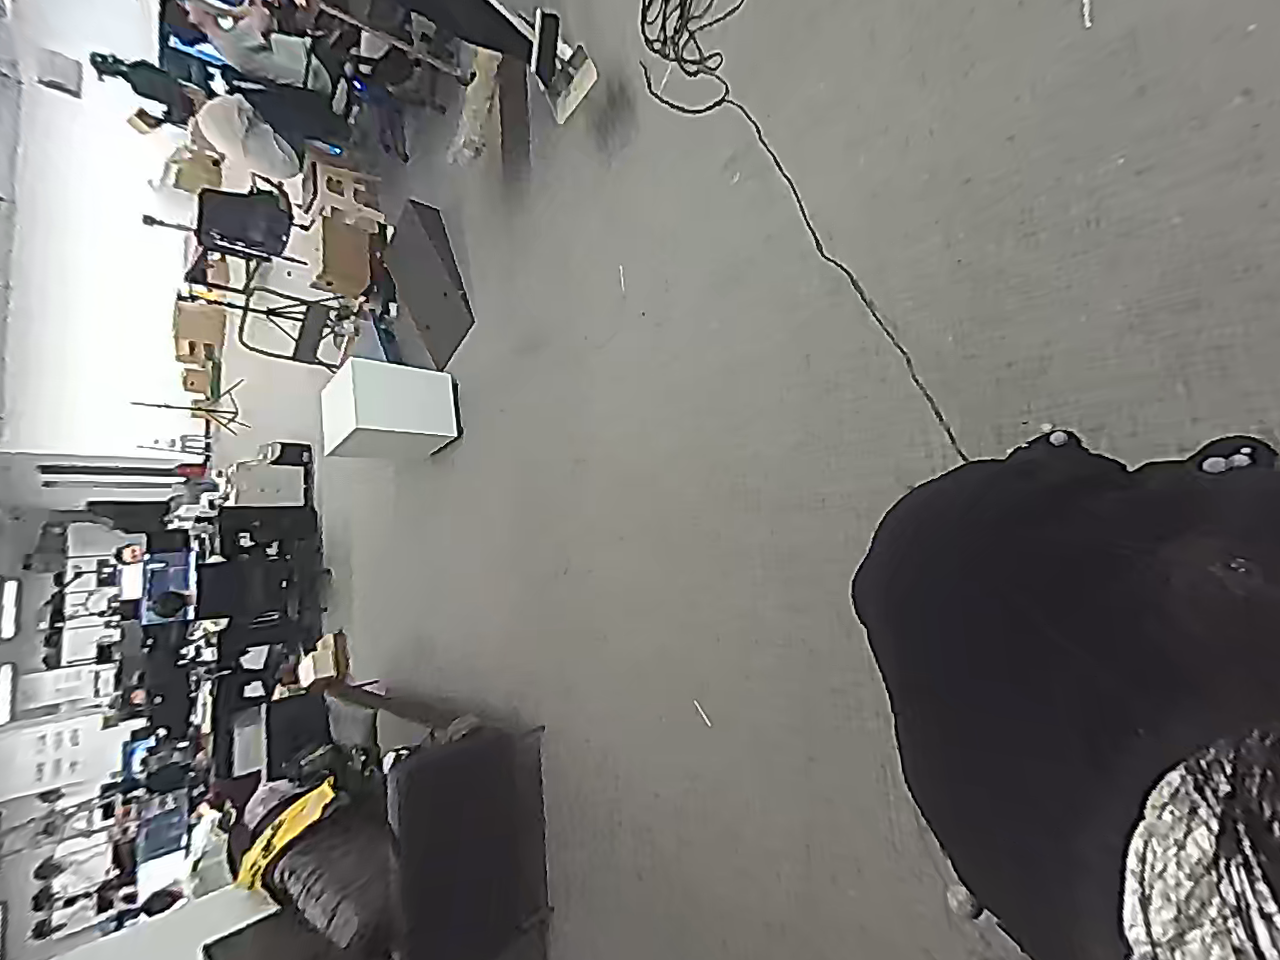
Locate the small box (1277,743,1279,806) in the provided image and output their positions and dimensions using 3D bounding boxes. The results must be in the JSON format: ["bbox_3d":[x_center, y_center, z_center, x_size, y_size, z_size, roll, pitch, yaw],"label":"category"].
[{"bbox_3d":[1.183,0.560,0.884,0.168,0.176,0.179,-4,85,44],"label":"small box"}]
